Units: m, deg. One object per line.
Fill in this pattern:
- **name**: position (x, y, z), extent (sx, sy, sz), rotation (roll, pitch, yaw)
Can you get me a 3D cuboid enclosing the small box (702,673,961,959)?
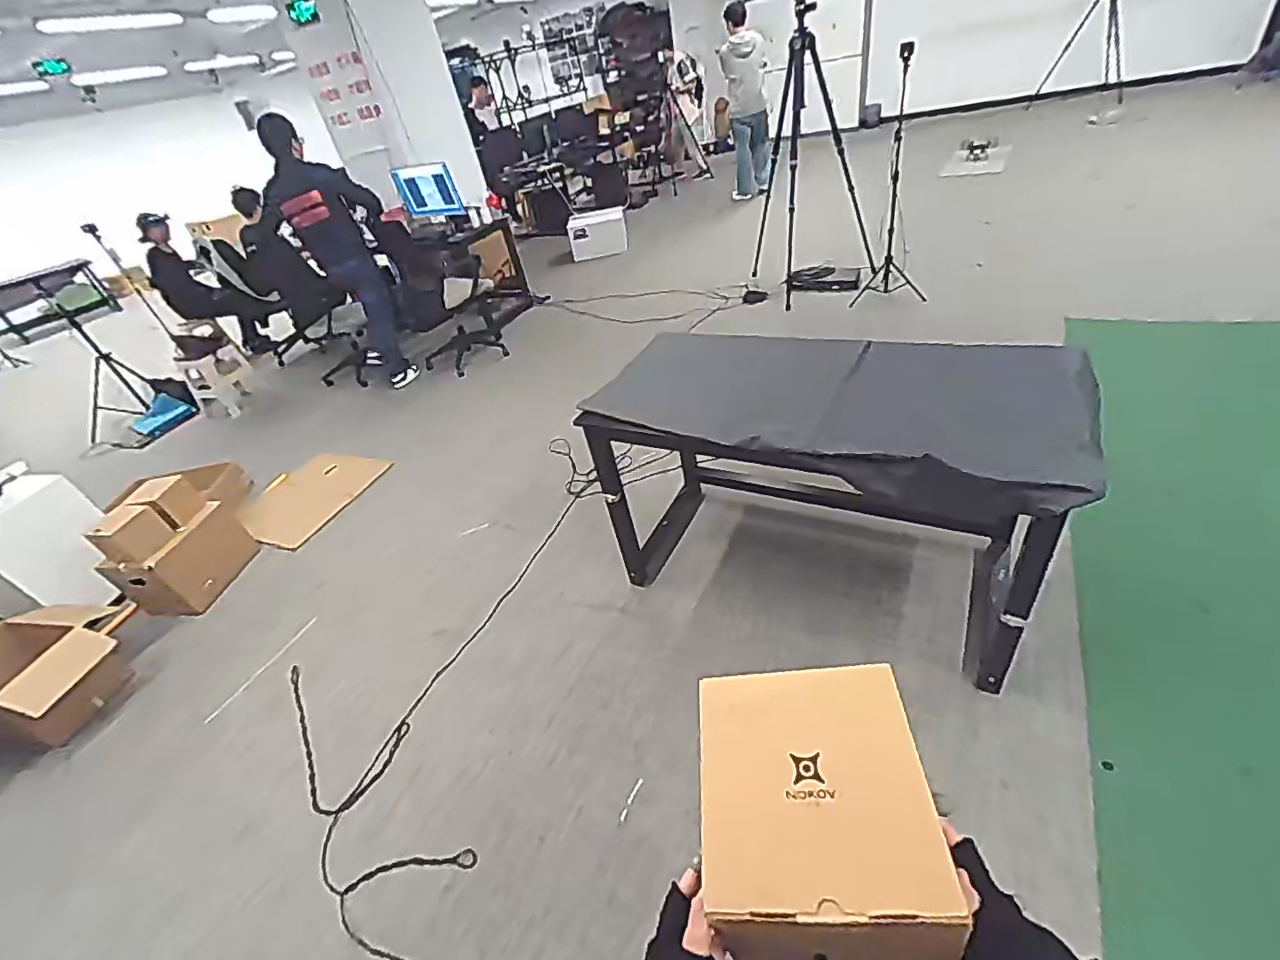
- **small box**: position (0.149, 0.294, 0.467), extent (0.168, 0.176, 0.179), rotation (-10, 39, 12)
